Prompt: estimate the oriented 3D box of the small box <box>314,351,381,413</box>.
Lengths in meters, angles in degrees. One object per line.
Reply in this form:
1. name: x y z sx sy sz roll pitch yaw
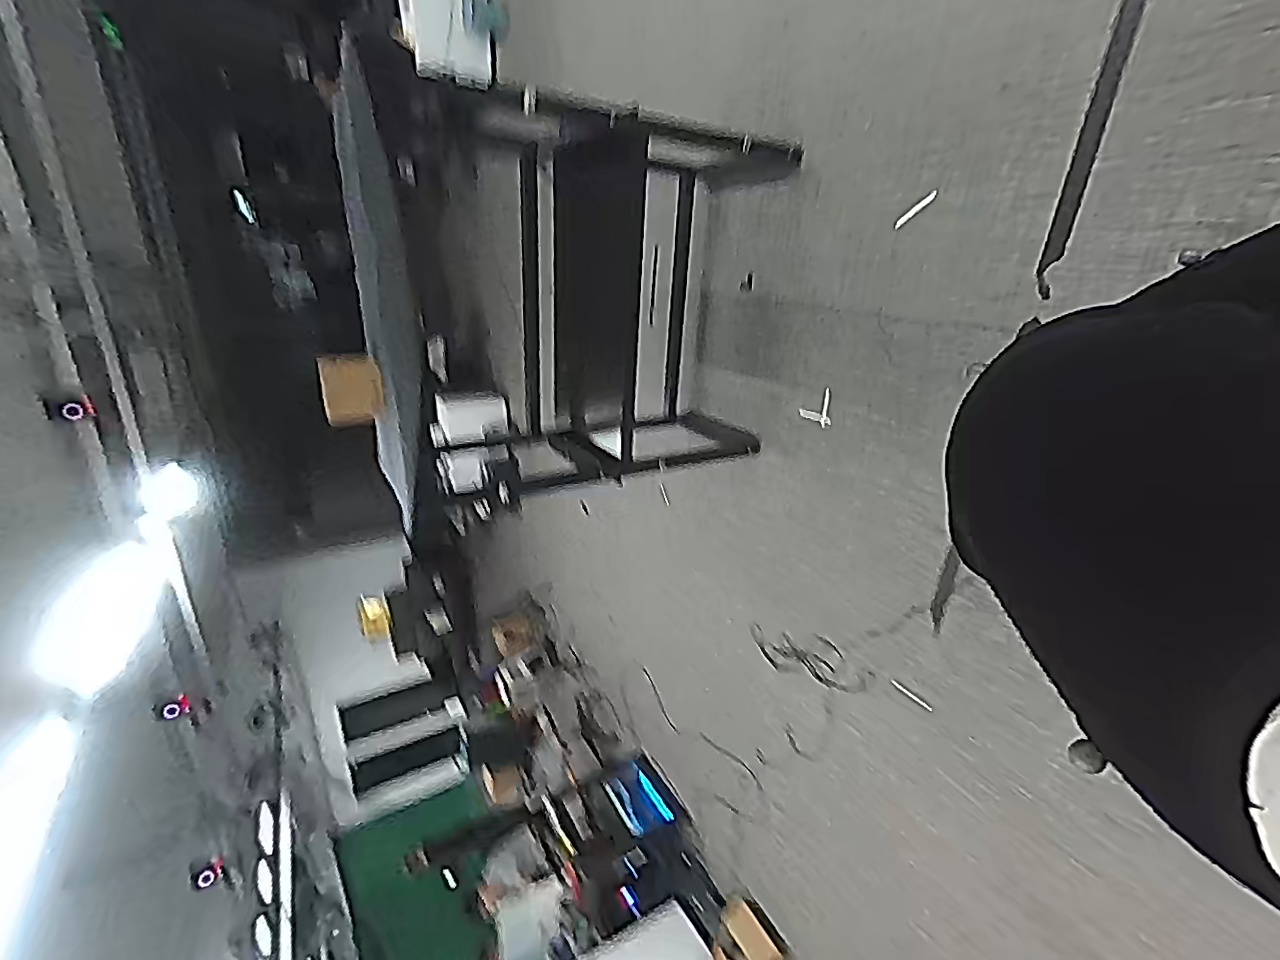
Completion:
1. small box: -0.954 -0.328 1.773 0.179 0.176 0.168 35 128 51
